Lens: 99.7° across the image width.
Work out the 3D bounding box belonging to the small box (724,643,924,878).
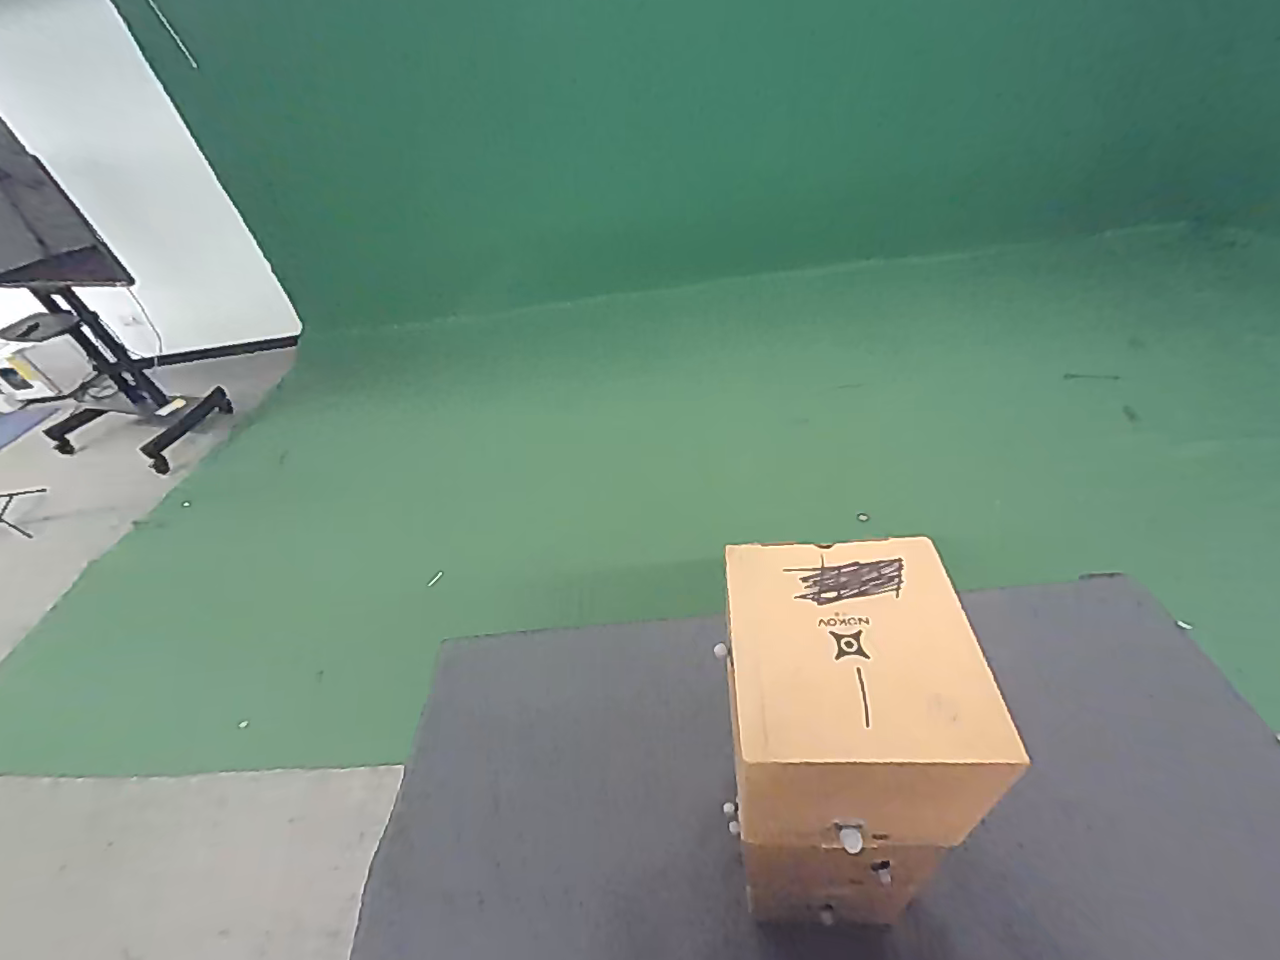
[{"bbox_3d":[0.177,0.282,0.548,0.168,0.176,0.179,-5,41,6],"label":"small box"}]

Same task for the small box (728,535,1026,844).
[{"bbox_3d":[0.157,0.165,0.434,0.168,0.176,0.179,-3,44,8],"label":"small box"}]

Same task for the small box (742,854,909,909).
[{"bbox_3d":[0.205,0.400,0.657,0.168,0.176,0.179,-5,43,8],"label":"small box"}]
